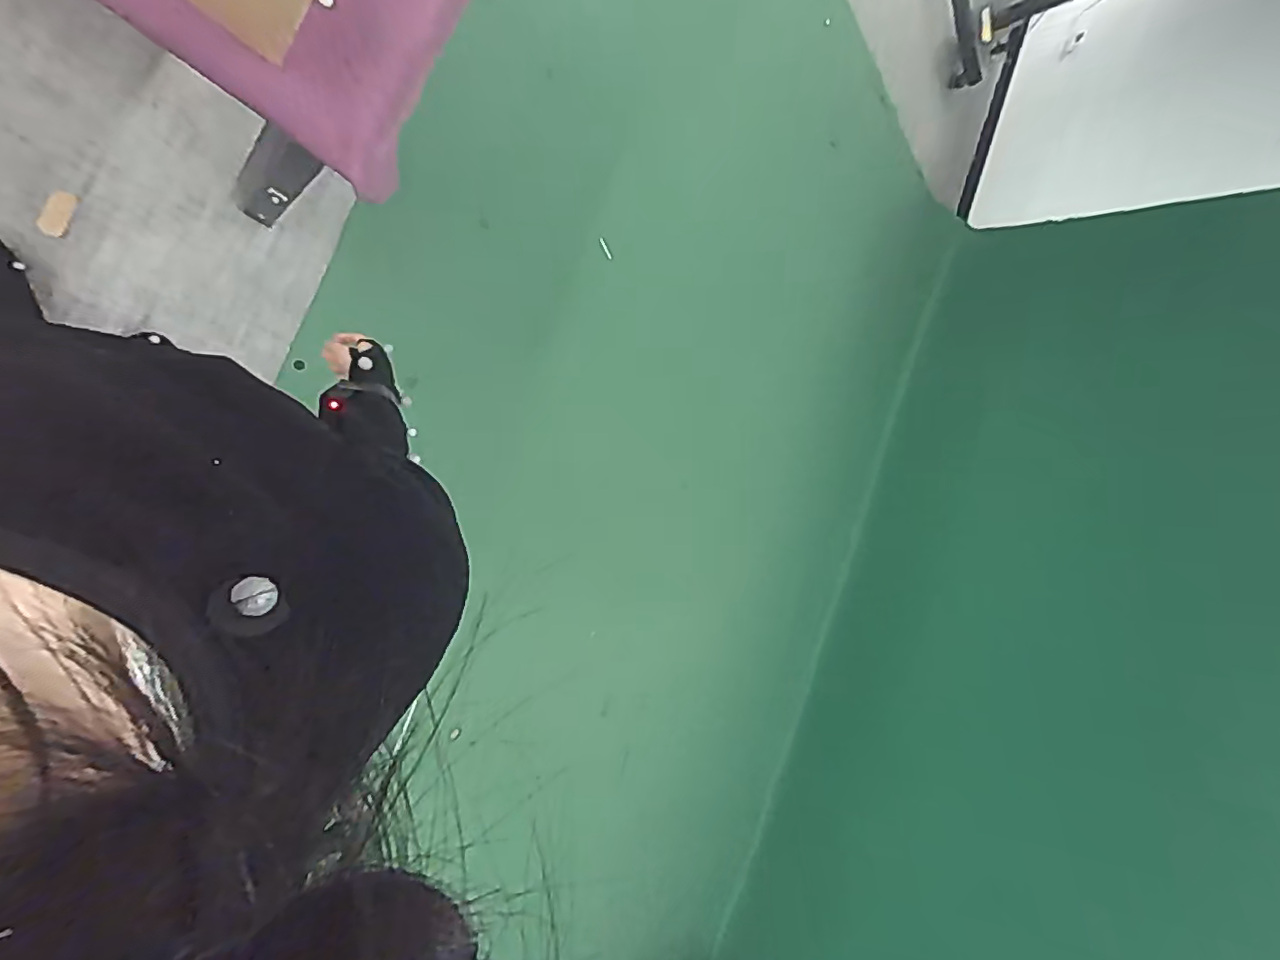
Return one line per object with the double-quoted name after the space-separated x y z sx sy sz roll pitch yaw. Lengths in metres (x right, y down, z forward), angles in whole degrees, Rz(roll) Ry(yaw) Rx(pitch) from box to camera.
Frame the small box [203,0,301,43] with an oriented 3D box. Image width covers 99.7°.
-0.387 -0.564 0.495 0.179 0.176 0.168 25 83 -44 "small box"
